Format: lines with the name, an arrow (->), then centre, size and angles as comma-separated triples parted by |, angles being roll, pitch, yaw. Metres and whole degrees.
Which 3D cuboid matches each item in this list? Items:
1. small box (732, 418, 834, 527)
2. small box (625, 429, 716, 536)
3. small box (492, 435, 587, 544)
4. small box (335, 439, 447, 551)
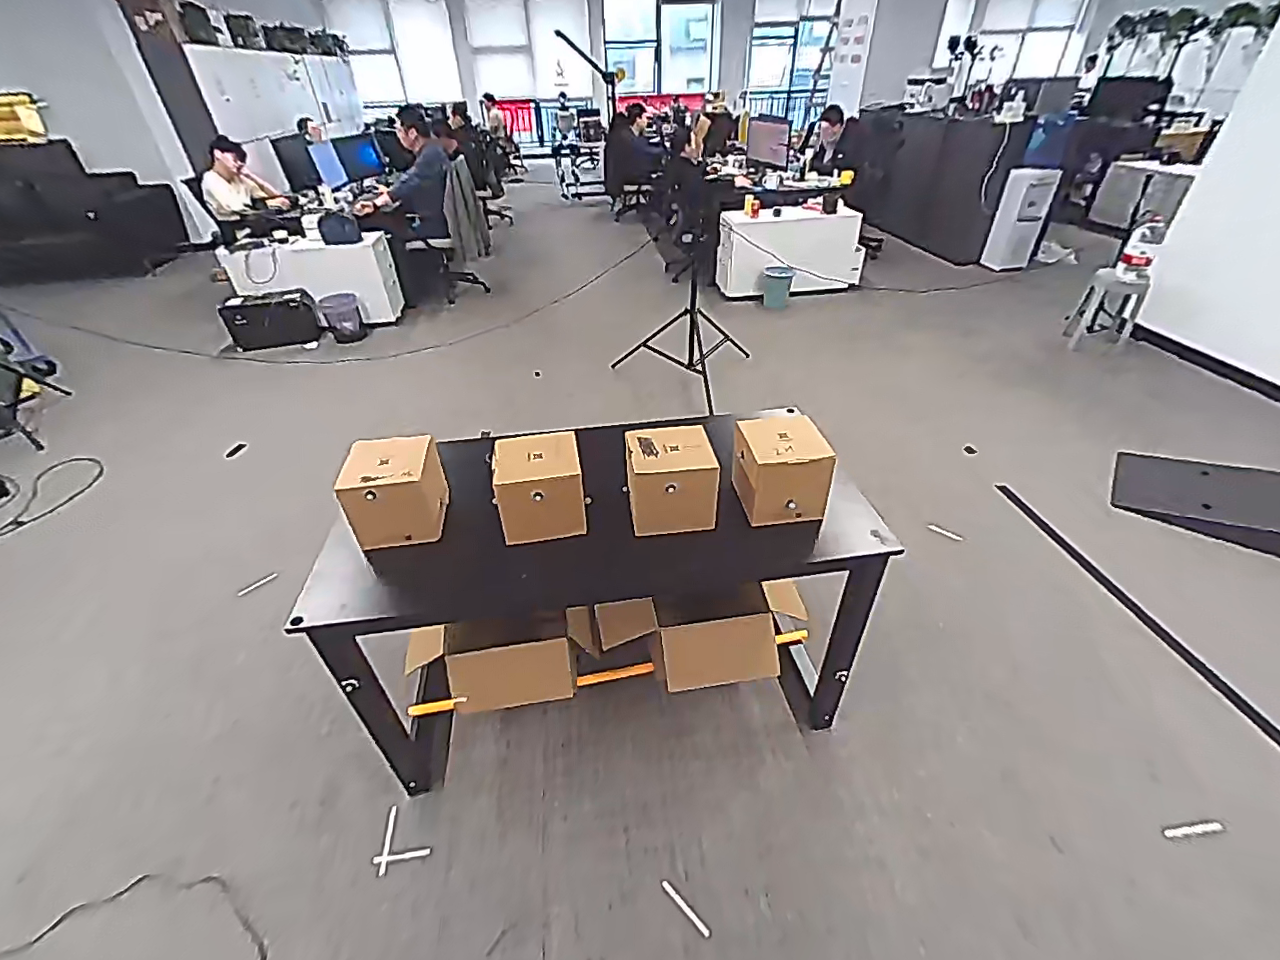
small box -> 0.307, -0.018, 1.199 | 0.168, 0.176, 0.179 | -6, 37, -4
small box -> 0.063, 0.007, 1.180 | 0.179, 0.176, 0.168 | -5, 36, -4
small box -> -0.216, 0.023, 1.175 | 0.179, 0.176, 0.168 | -7, 38, -8
small box -> -0.527, 0.031, 1.174 | 0.168, 0.176, 0.179 | -6, 37, -7
